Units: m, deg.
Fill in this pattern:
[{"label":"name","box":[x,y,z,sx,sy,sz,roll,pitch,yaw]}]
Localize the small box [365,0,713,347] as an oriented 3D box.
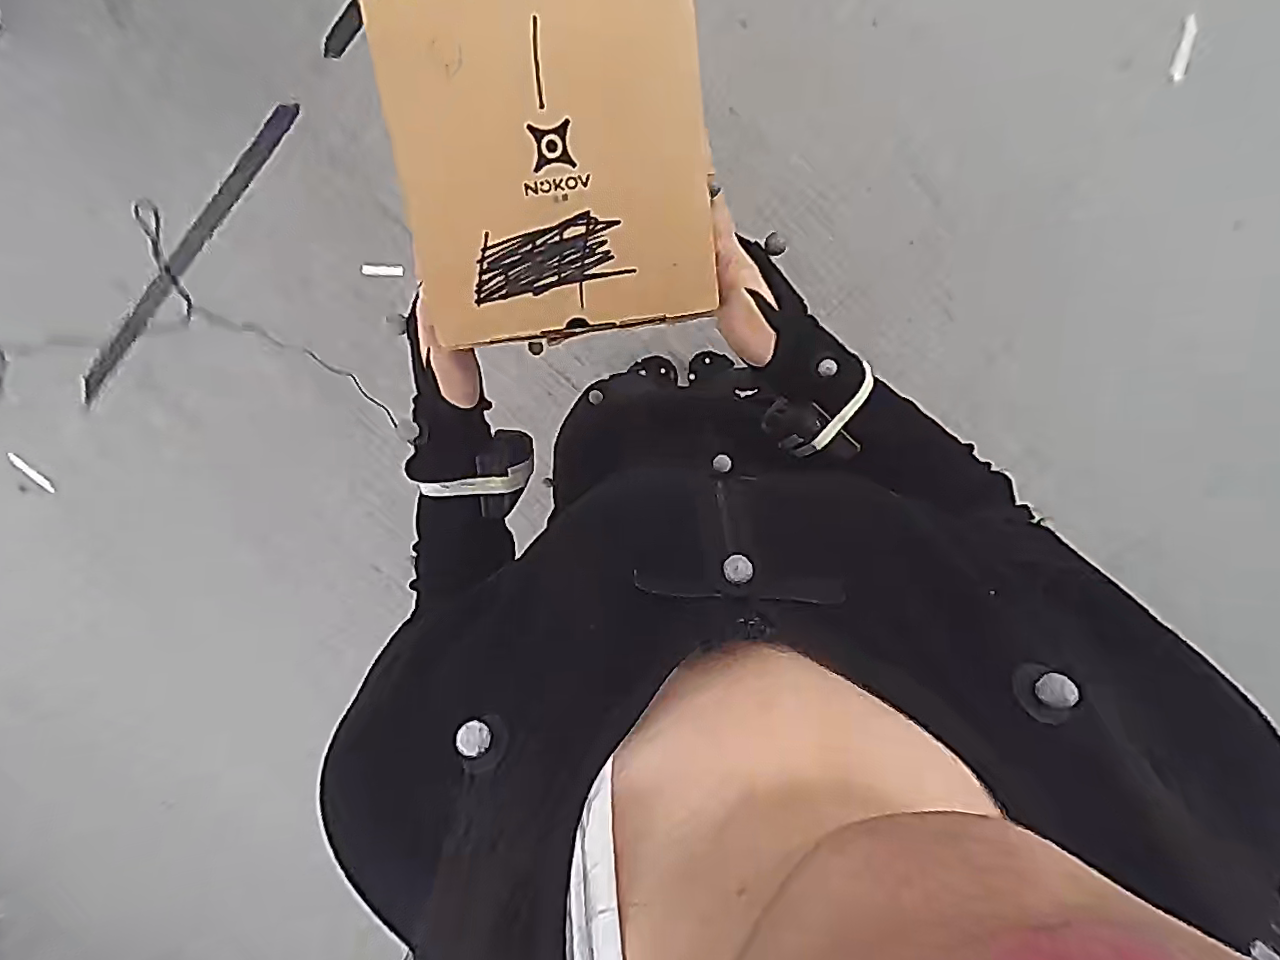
[{"label":"small box","box":[-0.047,-0.192,0.367,0.168,0.176,0.179,-8,105,1]}]
